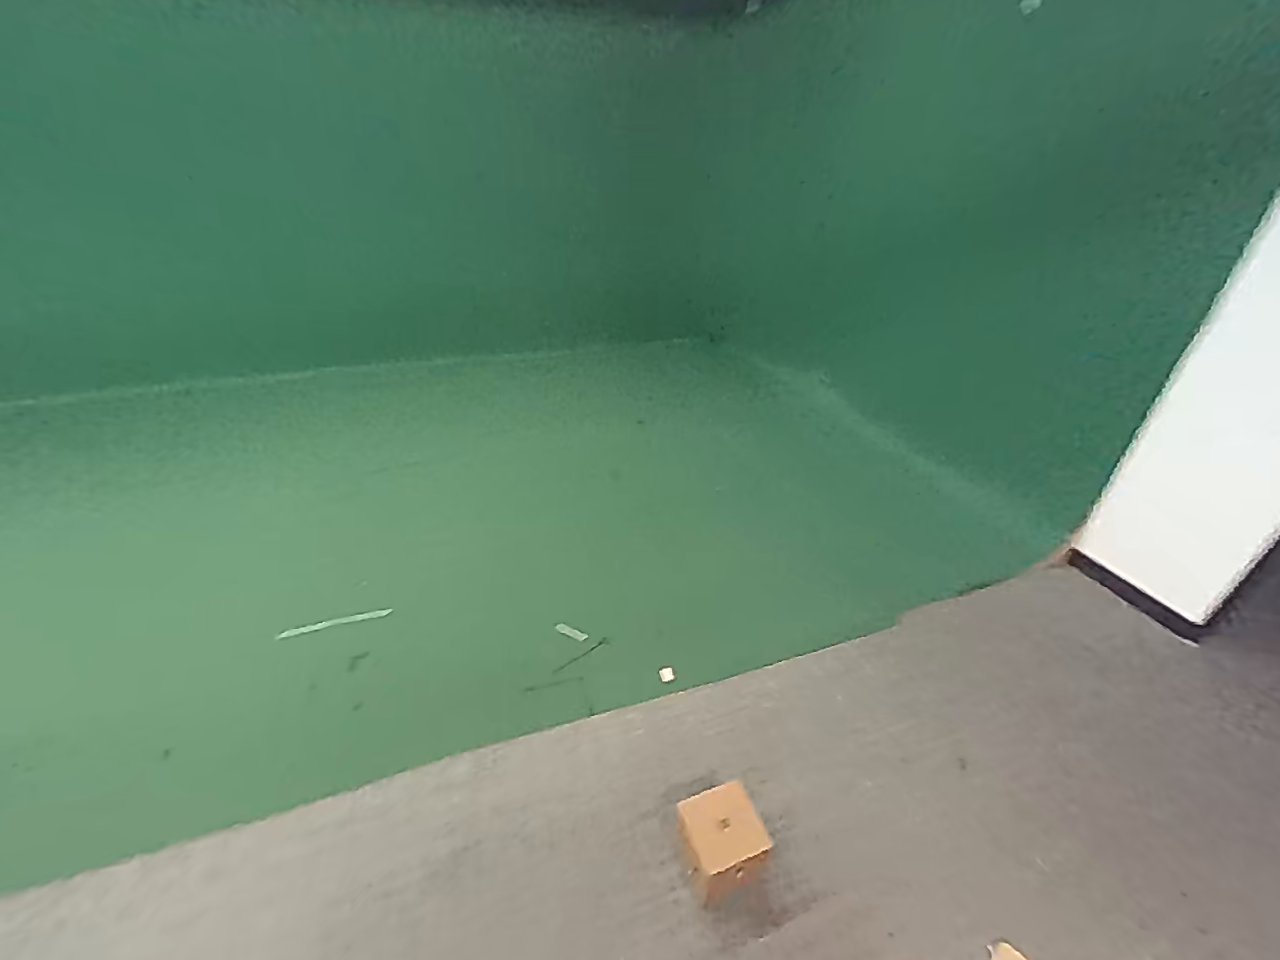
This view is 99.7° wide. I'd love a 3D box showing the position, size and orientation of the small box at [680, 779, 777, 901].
[{"bbox_3d":[0.206,0.872,1.307,0.179,0.176,0.168,-11,36,-18],"label":"small box"}]
